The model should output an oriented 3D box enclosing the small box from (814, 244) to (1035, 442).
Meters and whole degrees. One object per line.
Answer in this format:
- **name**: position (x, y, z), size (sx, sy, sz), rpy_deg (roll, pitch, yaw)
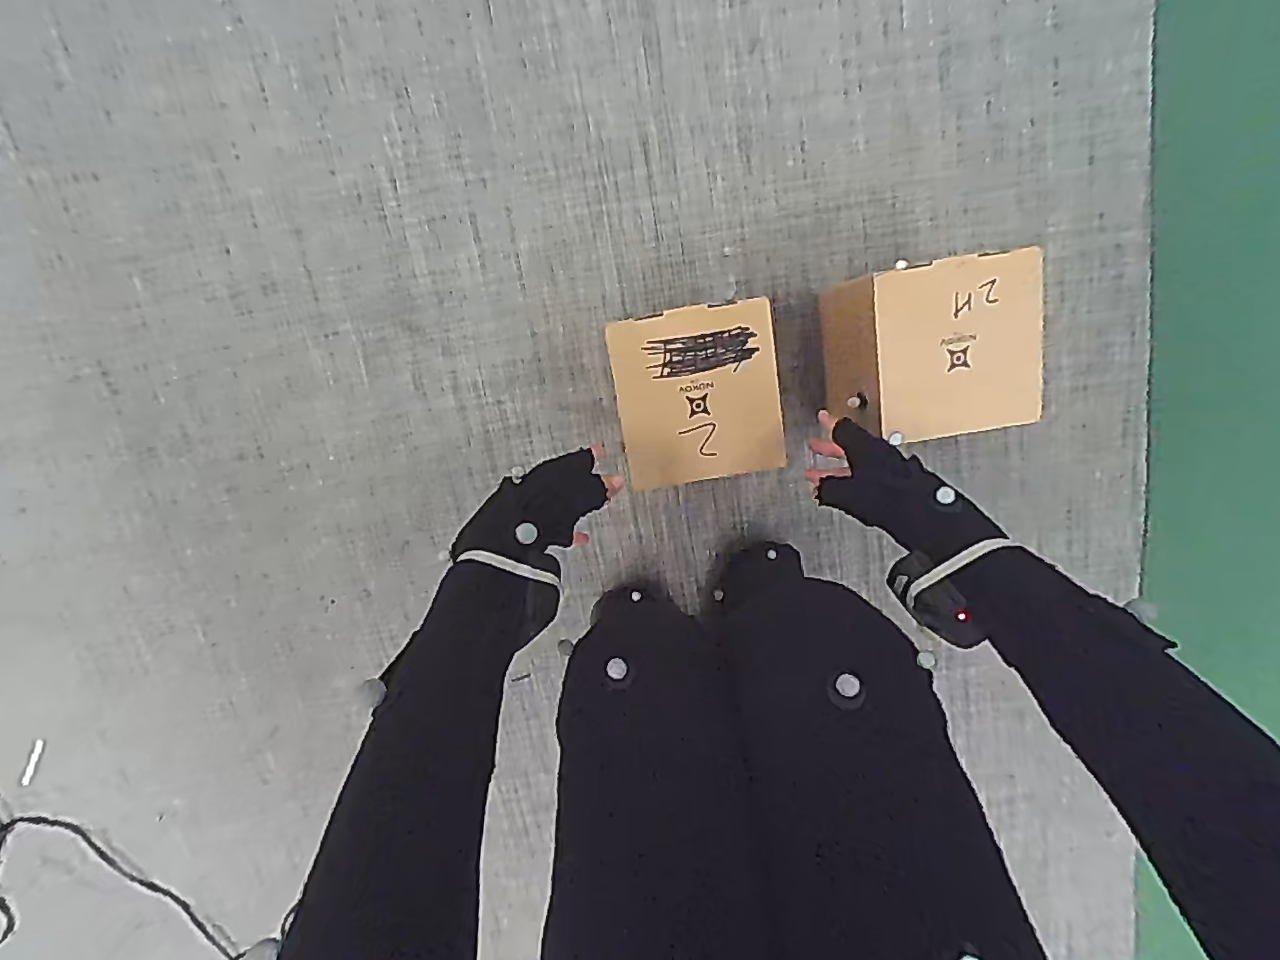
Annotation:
- **small box**: position (0.311, -0.152, 0.619), size (0.168, 0.176, 0.179), rpy_deg (-9, 102, 2)
